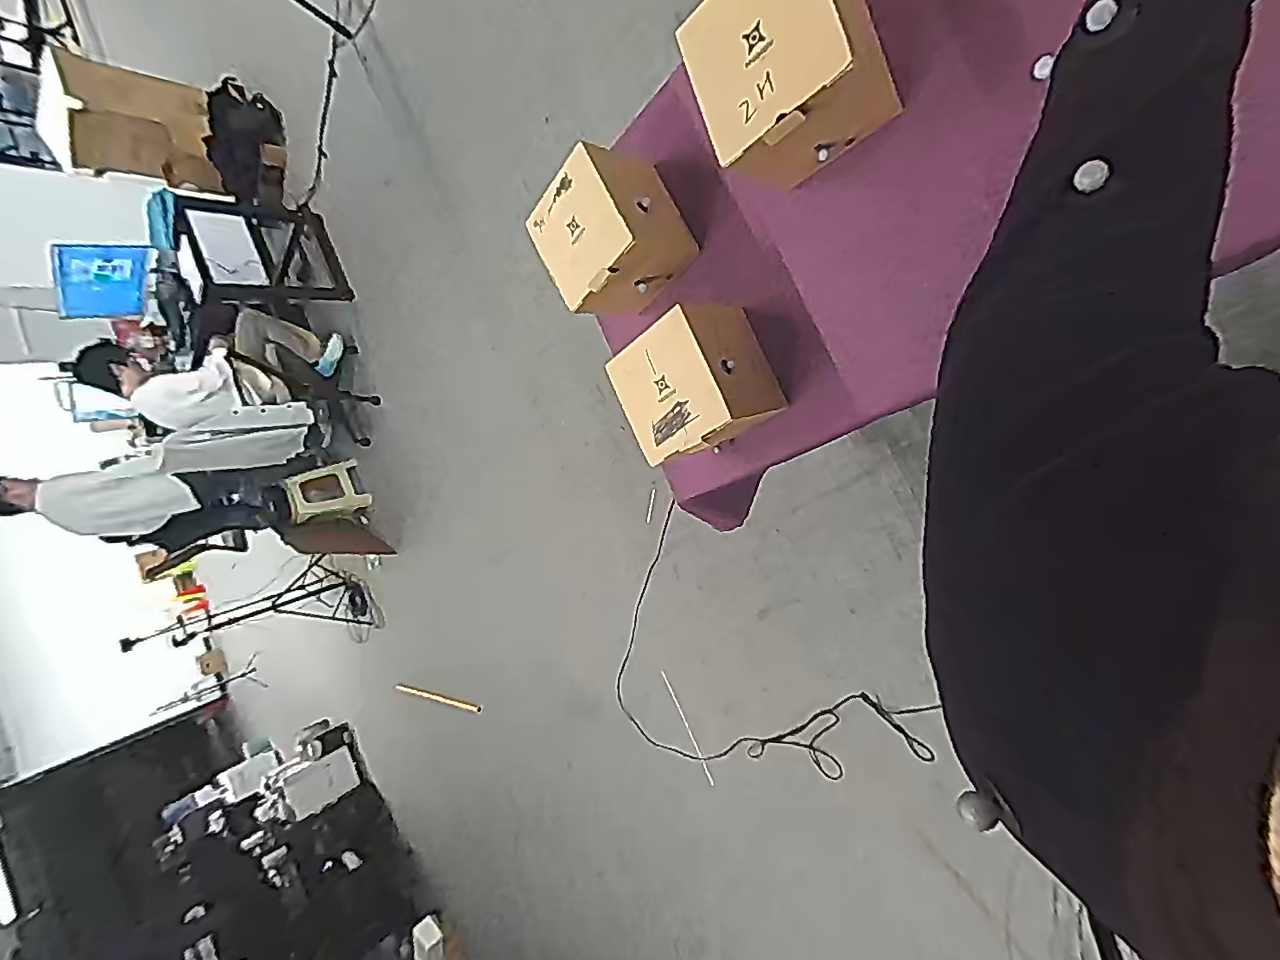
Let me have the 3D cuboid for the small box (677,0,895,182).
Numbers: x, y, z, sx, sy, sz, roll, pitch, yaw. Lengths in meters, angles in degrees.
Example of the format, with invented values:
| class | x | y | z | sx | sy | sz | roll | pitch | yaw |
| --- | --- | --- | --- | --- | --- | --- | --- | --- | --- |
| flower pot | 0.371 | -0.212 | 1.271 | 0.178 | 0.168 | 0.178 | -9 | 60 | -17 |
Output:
| class | x | y | z | sx | sy | sz | roll | pitch | yaw |
| --- | --- | --- | --- | --- | --- | --- | --- | --- | --- |
| small box | 0.177 | -0.494 | 0.646 | 0.168 | 0.176 | 0.179 | -18 | 91 | 43 |

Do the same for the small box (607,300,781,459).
| class | x | y | z | sx | sy | sz | roll | pitch | yaw |
| --- | --- | --- | --- | --- | --- | --- | --- | --- | --- |
| small box | 0.086 | -0.154 | 0.827 | 0.168 | 0.176 | 0.179 | -29 | 82 | 42 |

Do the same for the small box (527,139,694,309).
| class | x | y | z | sx | sy | sz | roll | pitch | yaw |
| --- | --- | --- | --- | --- | --- | --- | --- | --- | --- |
| small box | -0.043 | -0.398 | 0.868 | 0.168 | 0.176 | 0.179 | -33 | 81 | 41 |
